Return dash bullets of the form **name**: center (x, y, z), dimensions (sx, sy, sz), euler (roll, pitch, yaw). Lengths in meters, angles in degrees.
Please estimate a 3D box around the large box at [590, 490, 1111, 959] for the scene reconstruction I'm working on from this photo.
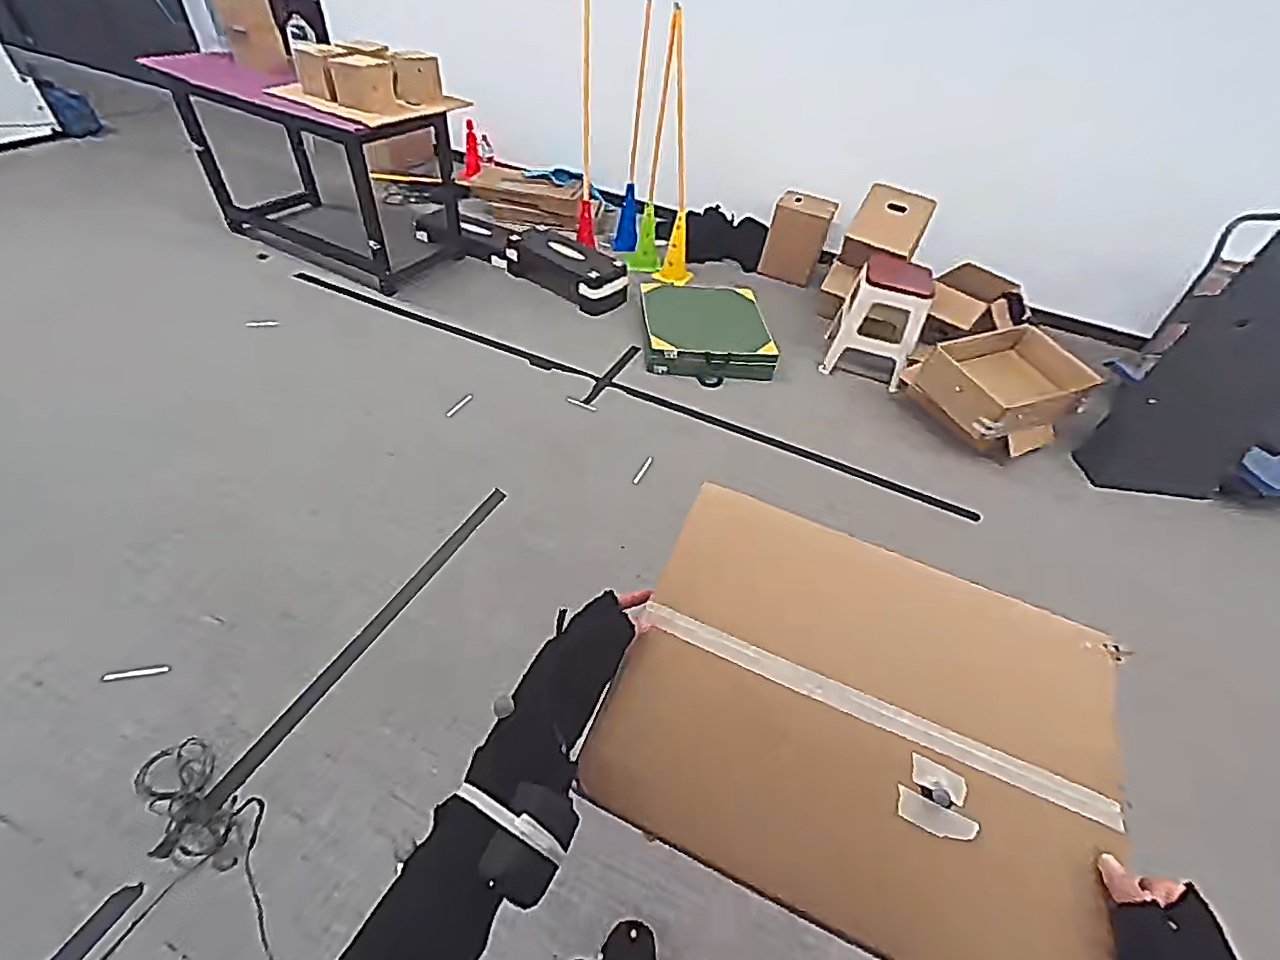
- **large box**: center (0.191, 0.273, 0.601), dimensions (0.408, 0.320, 0.320), euler (22, 61, 11)
